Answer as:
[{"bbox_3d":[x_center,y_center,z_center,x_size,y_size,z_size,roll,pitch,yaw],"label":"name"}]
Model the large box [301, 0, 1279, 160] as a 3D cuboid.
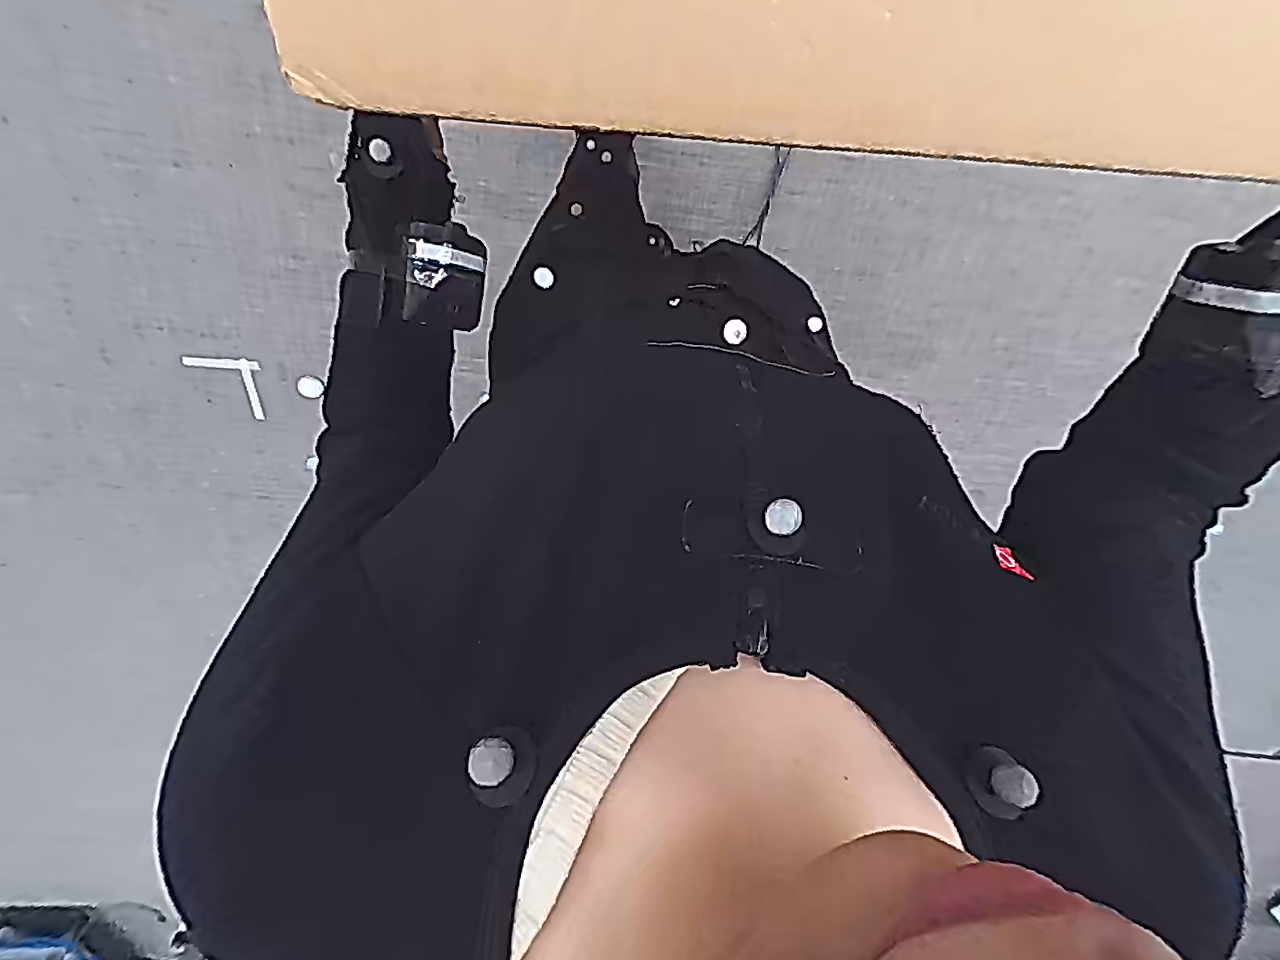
[{"bbox_3d":[0.085,-0.339,0.221,0.408,0.320,0.320,0,129,-7],"label":"large box"}]
